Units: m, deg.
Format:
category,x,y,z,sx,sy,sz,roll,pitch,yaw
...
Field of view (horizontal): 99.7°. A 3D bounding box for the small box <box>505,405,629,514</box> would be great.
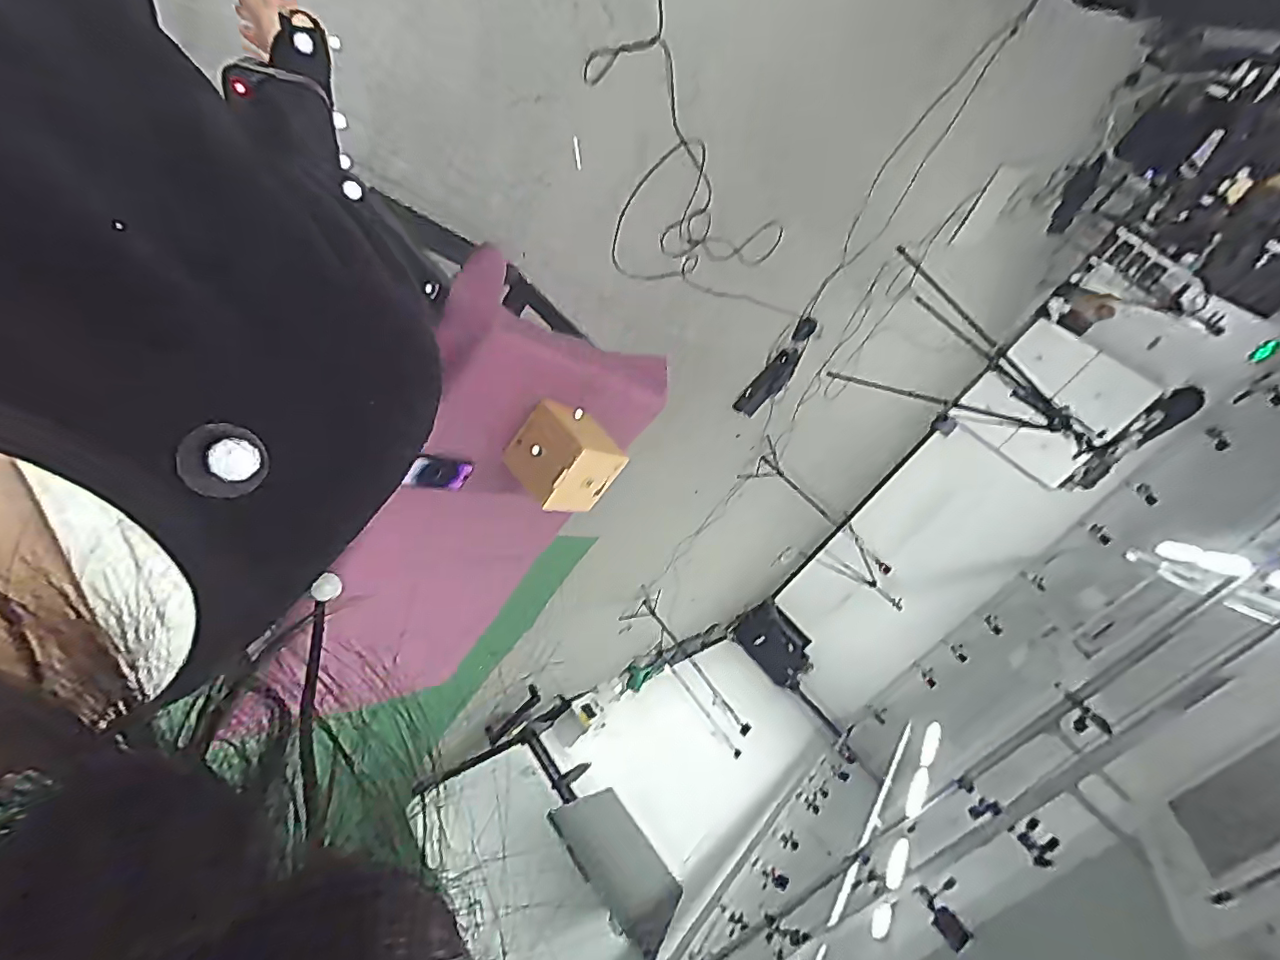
category,x,y,z,sx,sy,sz,roll,pitch,yaw
small box,-0.166,-0.044,1.198,0.168,0.176,0.179,-51,152,16
